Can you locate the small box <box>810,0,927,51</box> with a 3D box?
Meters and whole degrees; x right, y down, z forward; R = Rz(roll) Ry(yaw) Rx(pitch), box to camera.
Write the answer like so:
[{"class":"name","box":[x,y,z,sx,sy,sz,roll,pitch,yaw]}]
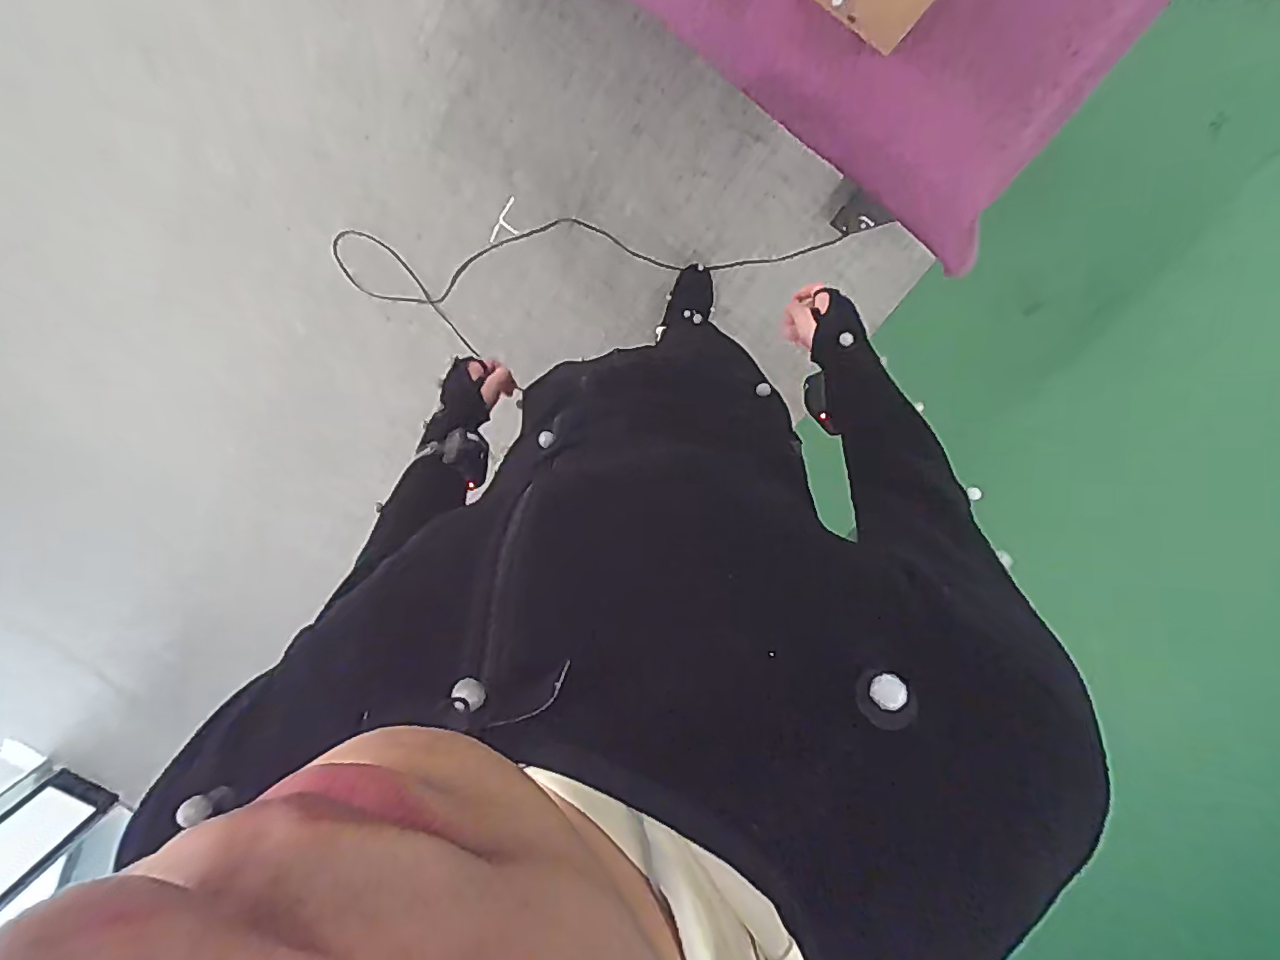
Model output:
[{"class":"small box","box":[0.266,-0.600,0.548,0.168,0.176,0.179,33,110,-6]}]
